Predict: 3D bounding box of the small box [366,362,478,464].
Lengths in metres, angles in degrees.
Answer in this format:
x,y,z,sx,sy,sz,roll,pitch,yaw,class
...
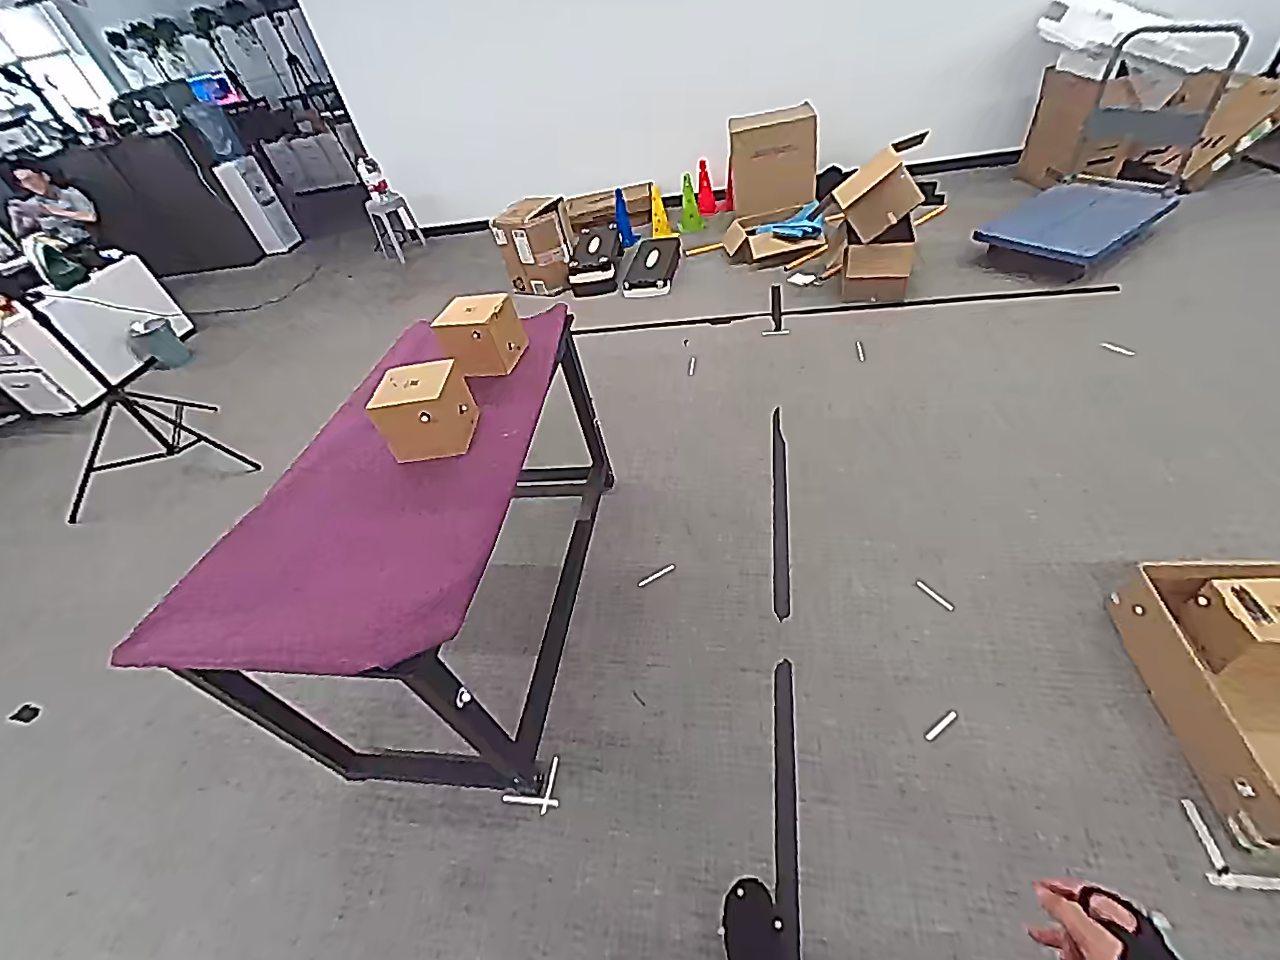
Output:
x,y,z,sx,sy,sz,roll,pitch,yaw,class
-0.514,-0.159,1.307,0.179,0.176,0.168,-8,43,7,small box

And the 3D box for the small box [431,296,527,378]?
x,y,z,sx,sy,sz,roll,pitch,yaw,class
-0.452,-0.403,1.544,0.179,0.176,0.168,1,46,16,small box
